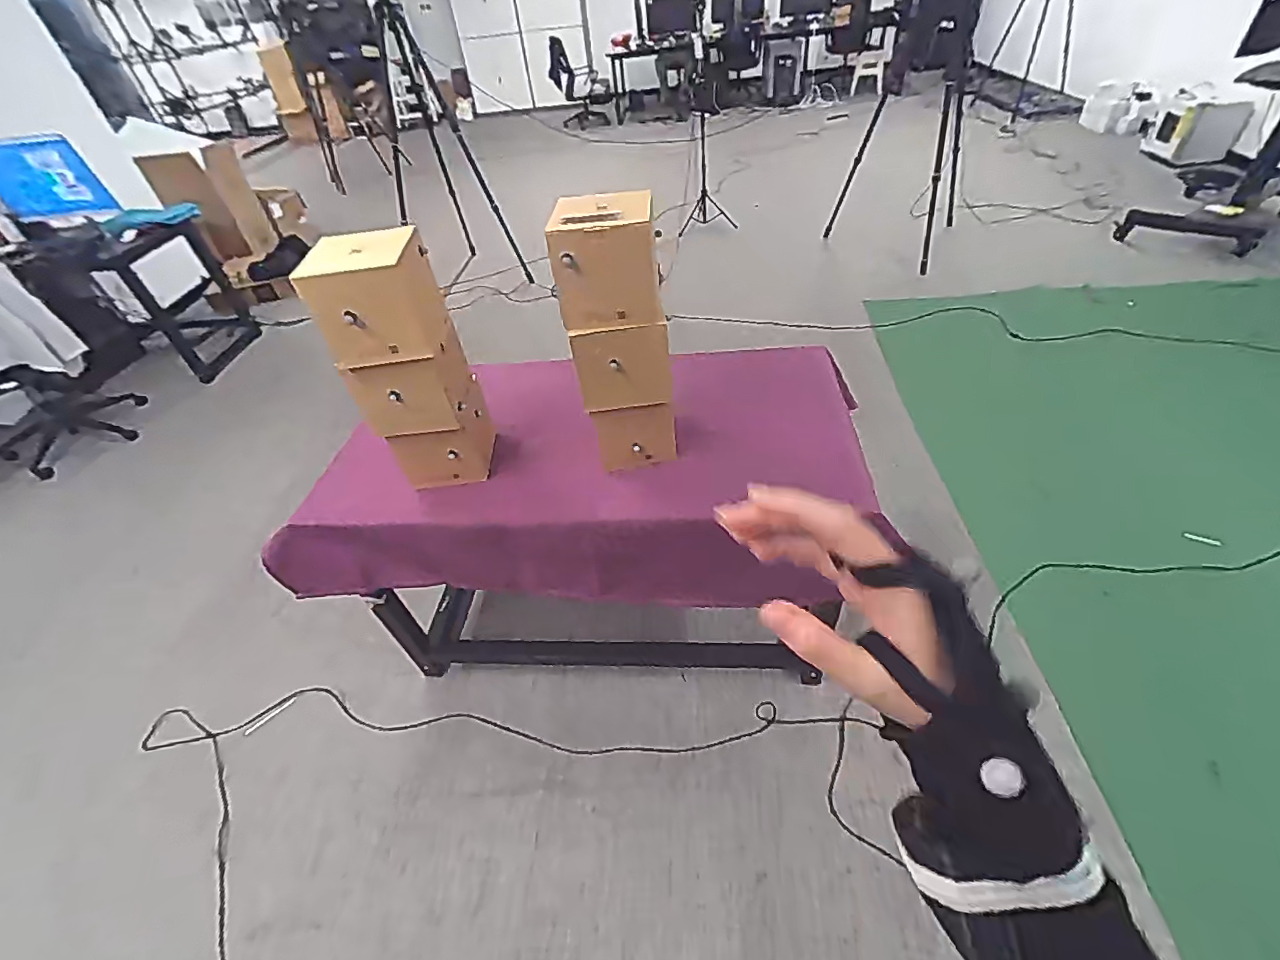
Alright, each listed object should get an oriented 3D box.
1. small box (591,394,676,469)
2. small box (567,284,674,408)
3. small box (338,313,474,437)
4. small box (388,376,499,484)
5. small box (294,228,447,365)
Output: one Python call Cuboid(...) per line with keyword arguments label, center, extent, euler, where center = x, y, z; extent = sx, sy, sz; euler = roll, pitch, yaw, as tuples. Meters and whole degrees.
Cuboid(label="small box", center=(-0.019, -0.150, 1.170), extent=(0.168, 0.176, 0.179), euler=(-11, 43, -2))
Cuboid(label="small box", center=(-0.035, -0.254, 1.043), extent=(0.179, 0.176, 0.168), euler=(-7, 44, 2))
Cuboid(label="small box", center=(-0.442, -0.204, 1.061), extent=(0.179, 0.176, 0.168), euler=(-7, 43, 2))
Cuboid(label="small box", center=(-0.422, -0.104, 1.191), extent=(0.168, 0.176, 0.179), euler=(-6, 43, 2))
Cuboid(label="small box", center=(-0.451, -0.313, 0.940), extent=(0.168, 0.176, 0.179), euler=(-9, 43, -1))
